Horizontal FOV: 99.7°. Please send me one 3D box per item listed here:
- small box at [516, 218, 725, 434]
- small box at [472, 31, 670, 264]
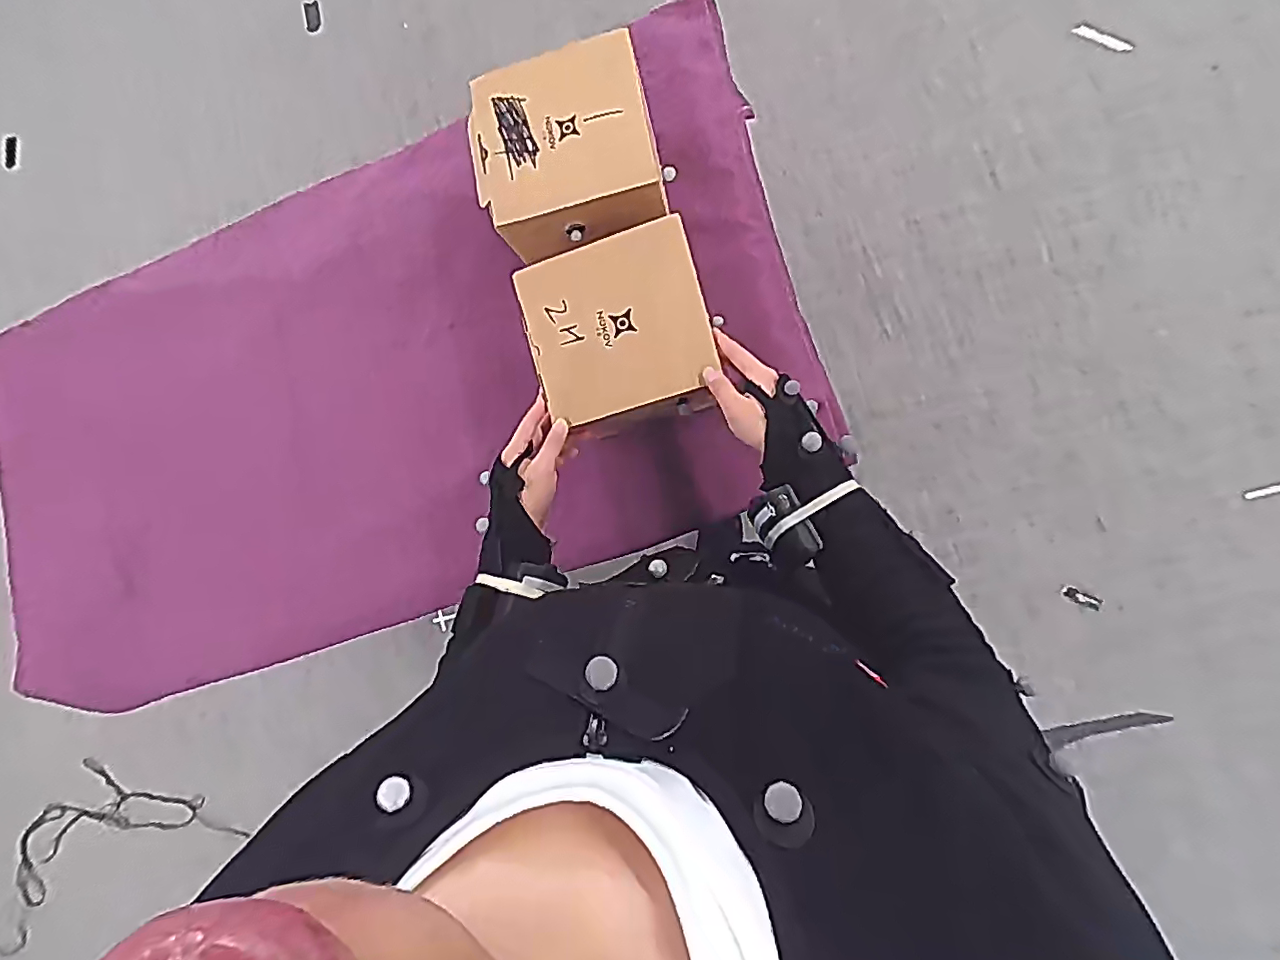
[{"bbox_3d":[-0.009,-0.152,0.600,0.179,0.176,0.168,-15,89,11],"label":"small box"},{"bbox_3d":[-0.067,-0.352,0.628,0.179,0.176,0.168,-11,86,9],"label":"small box"}]
